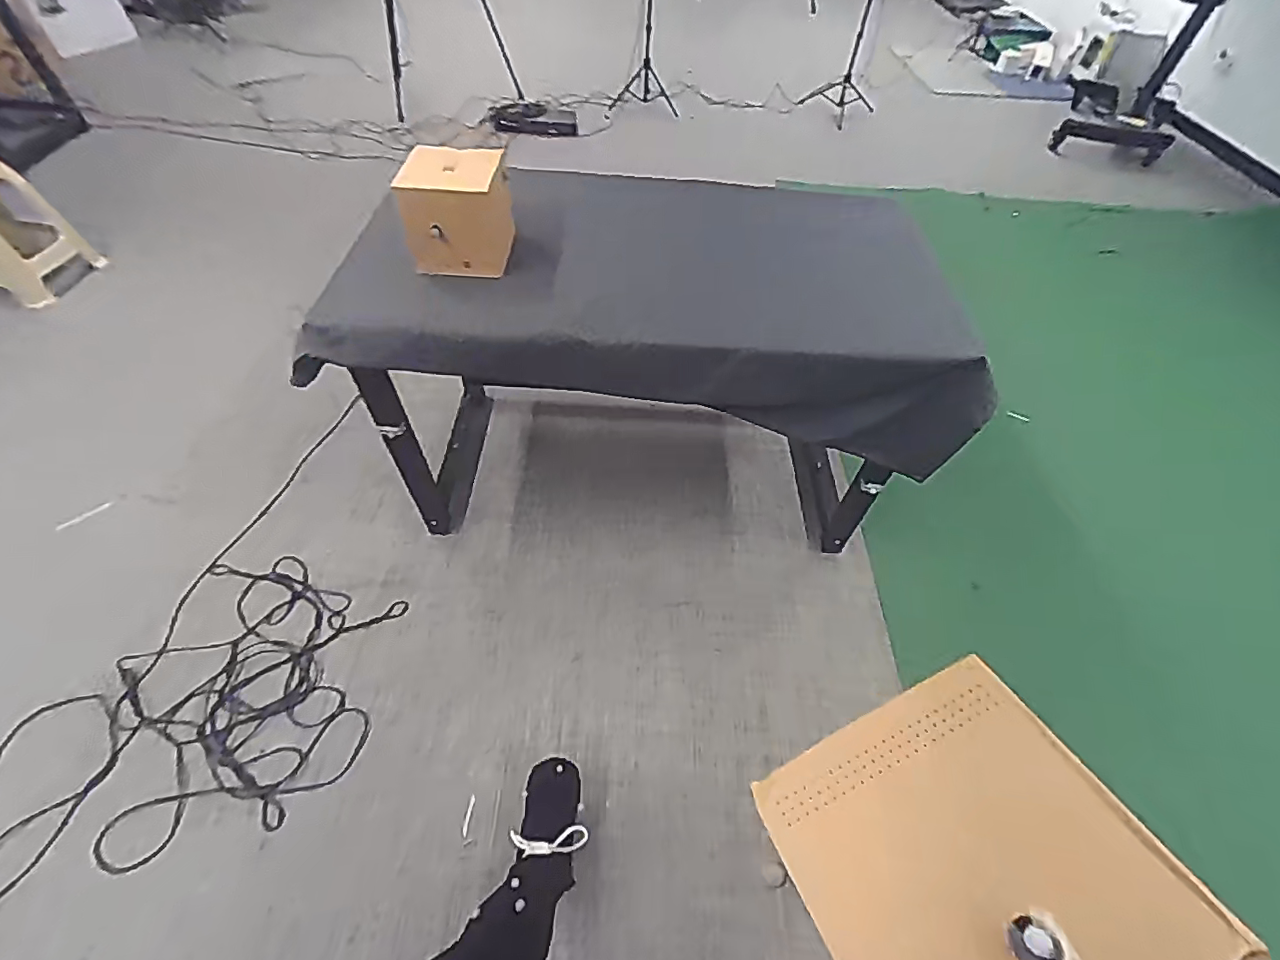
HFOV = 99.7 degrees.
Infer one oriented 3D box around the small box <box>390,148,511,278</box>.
[{"bbox_3d":[-0.347,-0.505,1.031,0.168,0.176,0.179,2,51,-3],"label":"small box"}]
